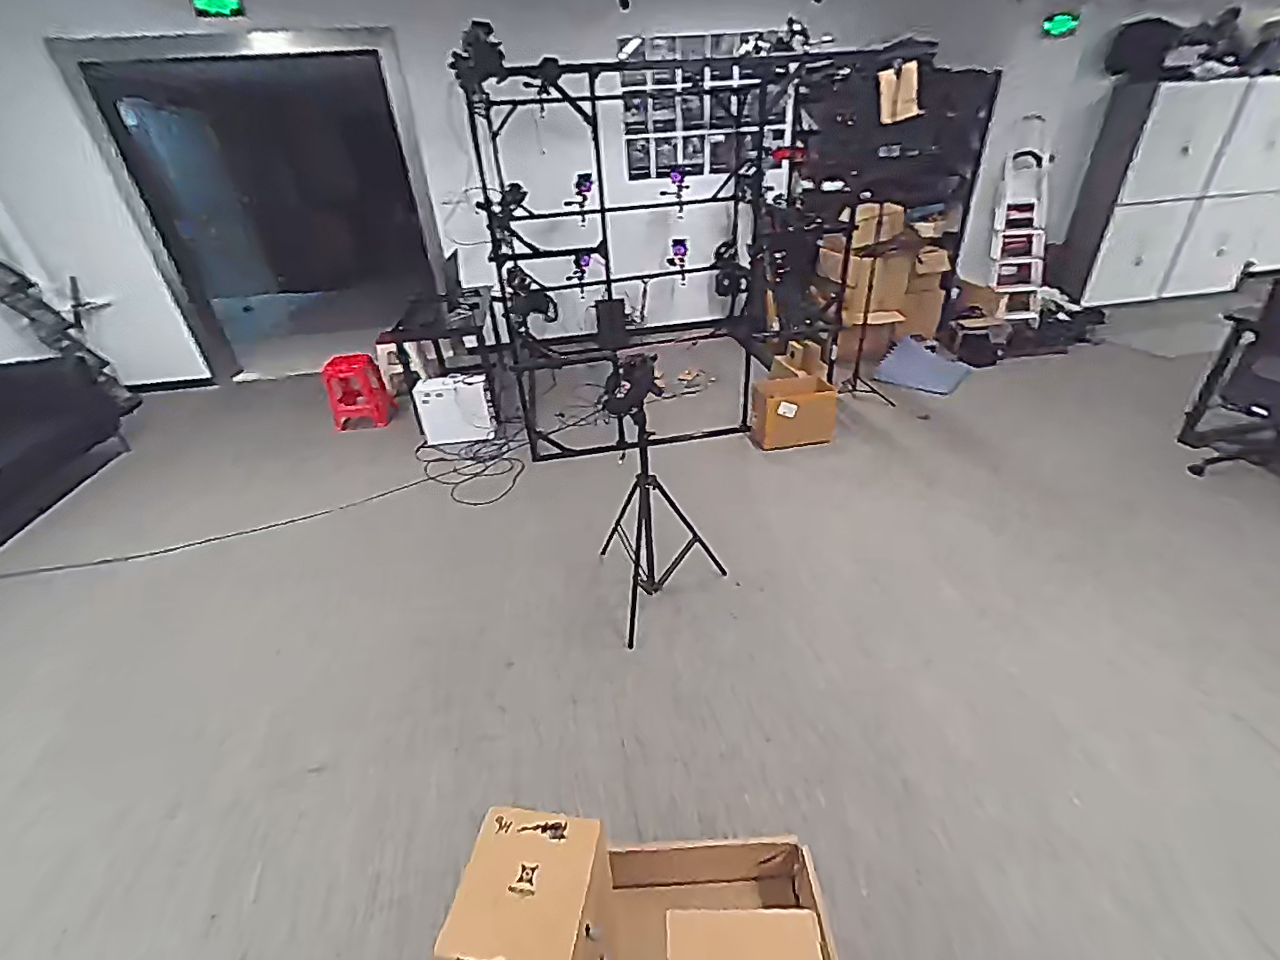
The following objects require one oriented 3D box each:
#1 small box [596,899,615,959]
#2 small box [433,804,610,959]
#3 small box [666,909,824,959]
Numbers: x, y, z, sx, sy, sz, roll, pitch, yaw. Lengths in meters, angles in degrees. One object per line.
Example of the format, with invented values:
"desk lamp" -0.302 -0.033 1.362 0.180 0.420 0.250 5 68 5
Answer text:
"small box" -0.133 0.716 0.813 0.168 0.176 0.179 0 30 7
"small box" -0.141 0.578 0.724 0.168 0.176 0.179 2 32 11
"small box" 0.118 0.615 0.611 0.179 0.176 0.168 -2 34 2
